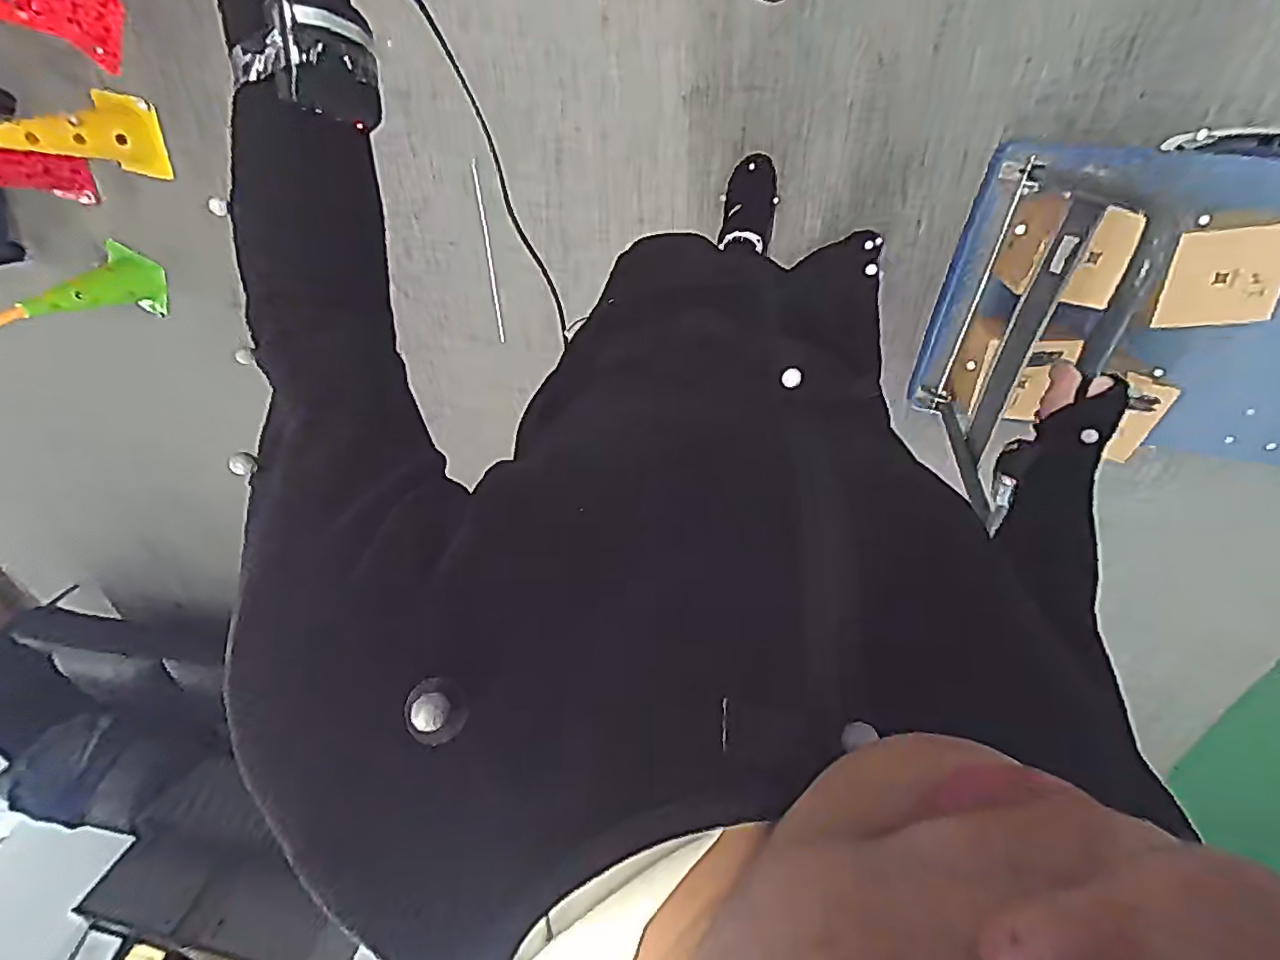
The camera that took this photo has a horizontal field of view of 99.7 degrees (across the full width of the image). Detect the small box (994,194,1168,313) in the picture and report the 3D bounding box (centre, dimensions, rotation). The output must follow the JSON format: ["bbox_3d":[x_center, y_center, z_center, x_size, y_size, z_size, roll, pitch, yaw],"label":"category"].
[{"bbox_3d":[0.826,-0.440,1.038,0.179,0.176,0.168,15,126,8],"label":"small box"}]

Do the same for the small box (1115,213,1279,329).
[{"bbox_3d":[1.032,-0.389,1.005,0.179,0.176,0.168,1,123,16],"label":"small box"}]
